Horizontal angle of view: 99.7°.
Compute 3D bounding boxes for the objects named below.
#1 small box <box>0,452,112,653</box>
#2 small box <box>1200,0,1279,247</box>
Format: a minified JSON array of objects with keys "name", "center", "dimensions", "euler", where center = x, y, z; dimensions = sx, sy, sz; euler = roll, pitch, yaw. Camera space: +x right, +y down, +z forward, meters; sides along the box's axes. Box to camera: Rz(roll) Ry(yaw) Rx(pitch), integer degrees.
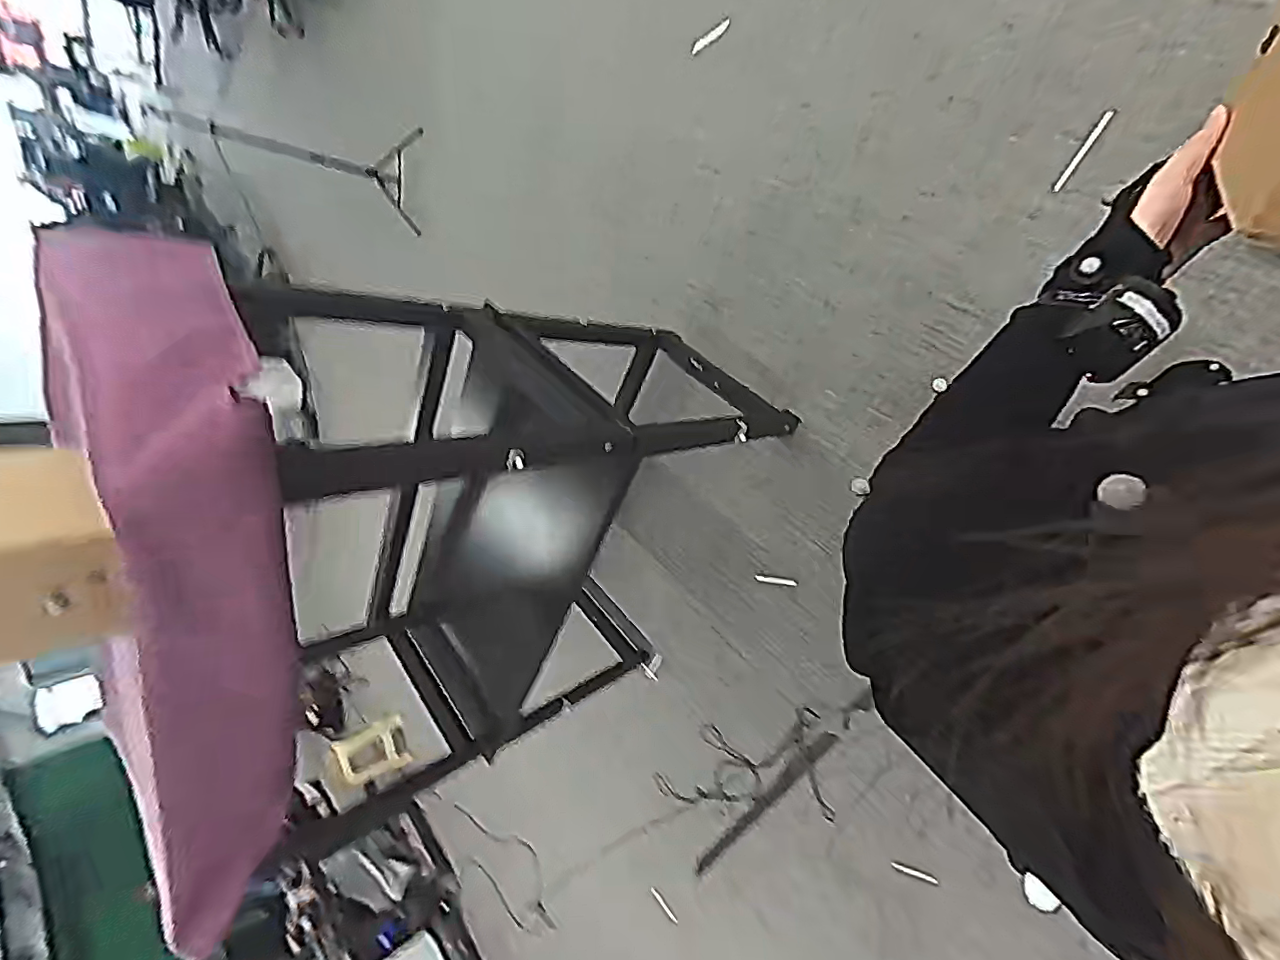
[{"name":"small box","center":[-0.711,0.081,0.594],"dimensions":[0.179,0.176,0.168],"euler":[41,123,30]},{"name":"small box","center":[0.443,-0.223,0.264],"dimensions":[0.179,0.176,0.168],"euler":[17,144,19]}]
